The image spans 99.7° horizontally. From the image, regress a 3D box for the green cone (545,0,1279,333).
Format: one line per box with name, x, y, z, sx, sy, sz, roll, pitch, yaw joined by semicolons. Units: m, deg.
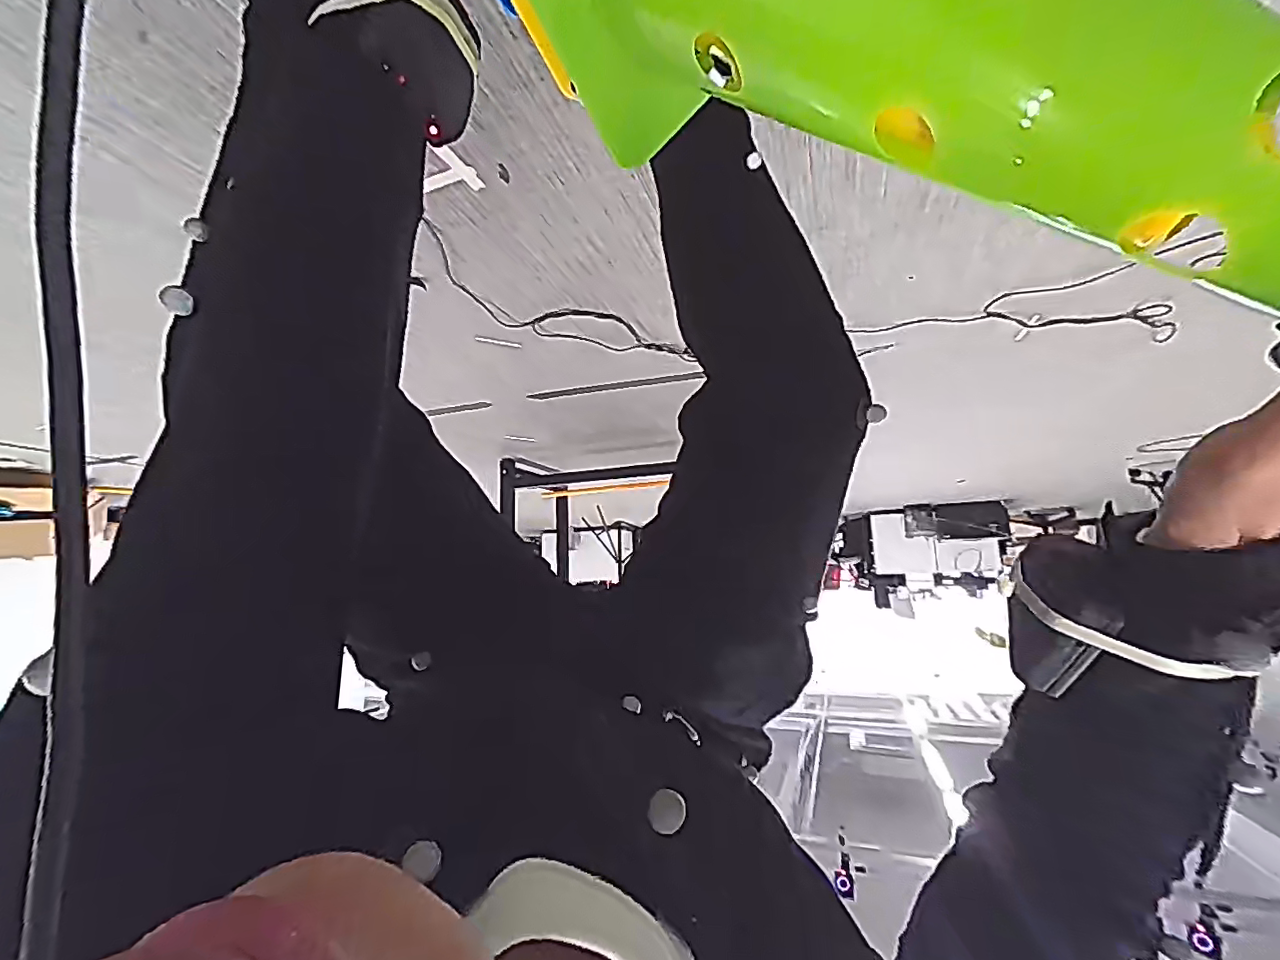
green cone;0.138;-0.169;0.211;0.202;0.368;0.200;-42;157;9
